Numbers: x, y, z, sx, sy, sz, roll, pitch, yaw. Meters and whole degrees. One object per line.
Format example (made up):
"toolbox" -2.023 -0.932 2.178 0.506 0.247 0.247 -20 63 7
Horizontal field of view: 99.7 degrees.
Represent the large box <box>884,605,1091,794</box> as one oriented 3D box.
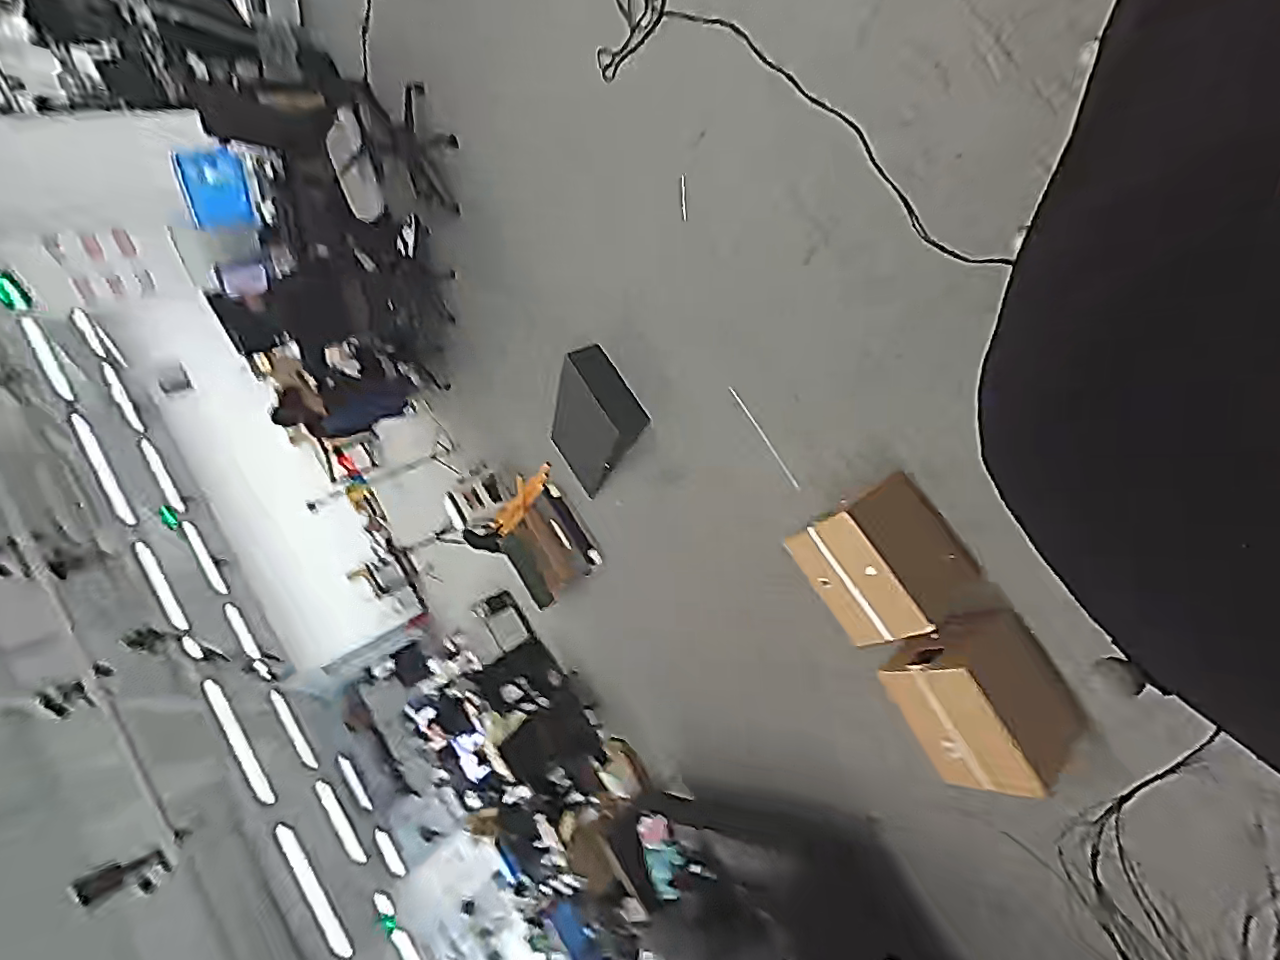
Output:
"large box" 1.045 0.649 1.639 0.408 0.320 0.320 57 149 4
